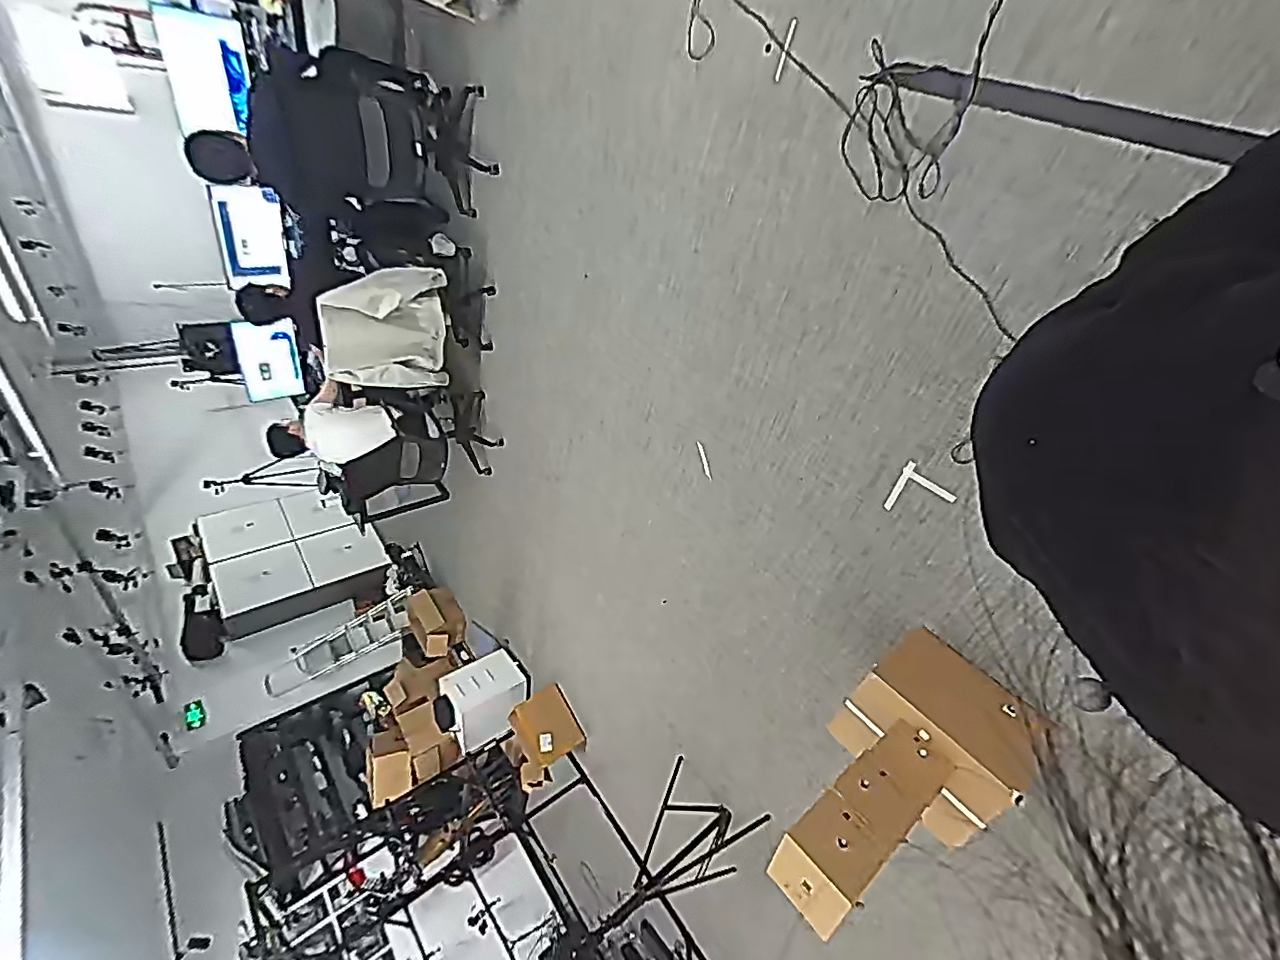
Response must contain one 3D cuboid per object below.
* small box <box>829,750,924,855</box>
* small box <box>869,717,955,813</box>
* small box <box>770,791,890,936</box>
[{"bbox_3d":[0.546,0.790,1.295,0.168,0.176,0.179,41,134,36],"label":"small box"},{"bbox_3d":[0.671,0.756,1.393,0.168,0.176,0.179,41,133,34],"label":"small box"},{"bbox_3d":[0.422,0.837,1.197,0.168,0.176,0.179,37,131,39],"label":"small box"}]
